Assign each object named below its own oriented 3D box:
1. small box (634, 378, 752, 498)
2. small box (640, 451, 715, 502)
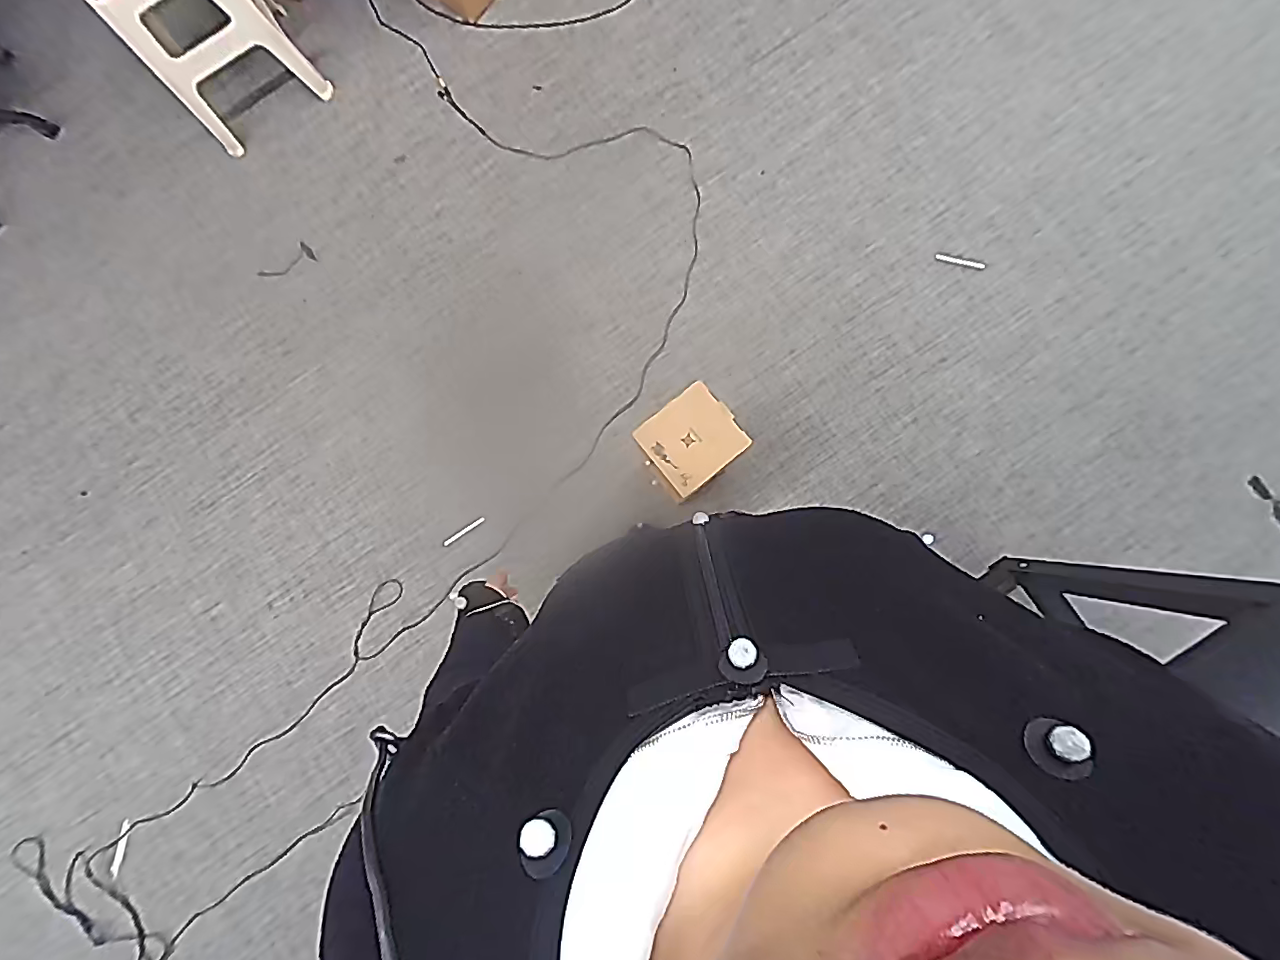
[{"bbox_3d":[0.104,-0.080,1.129,0.179,0.176,0.168,-39,84,-2],"label":"small box"},{"bbox_3d":[0.117,-0.057,1.455,0.179,0.176,0.168,-38,84,0],"label":"small box"}]
